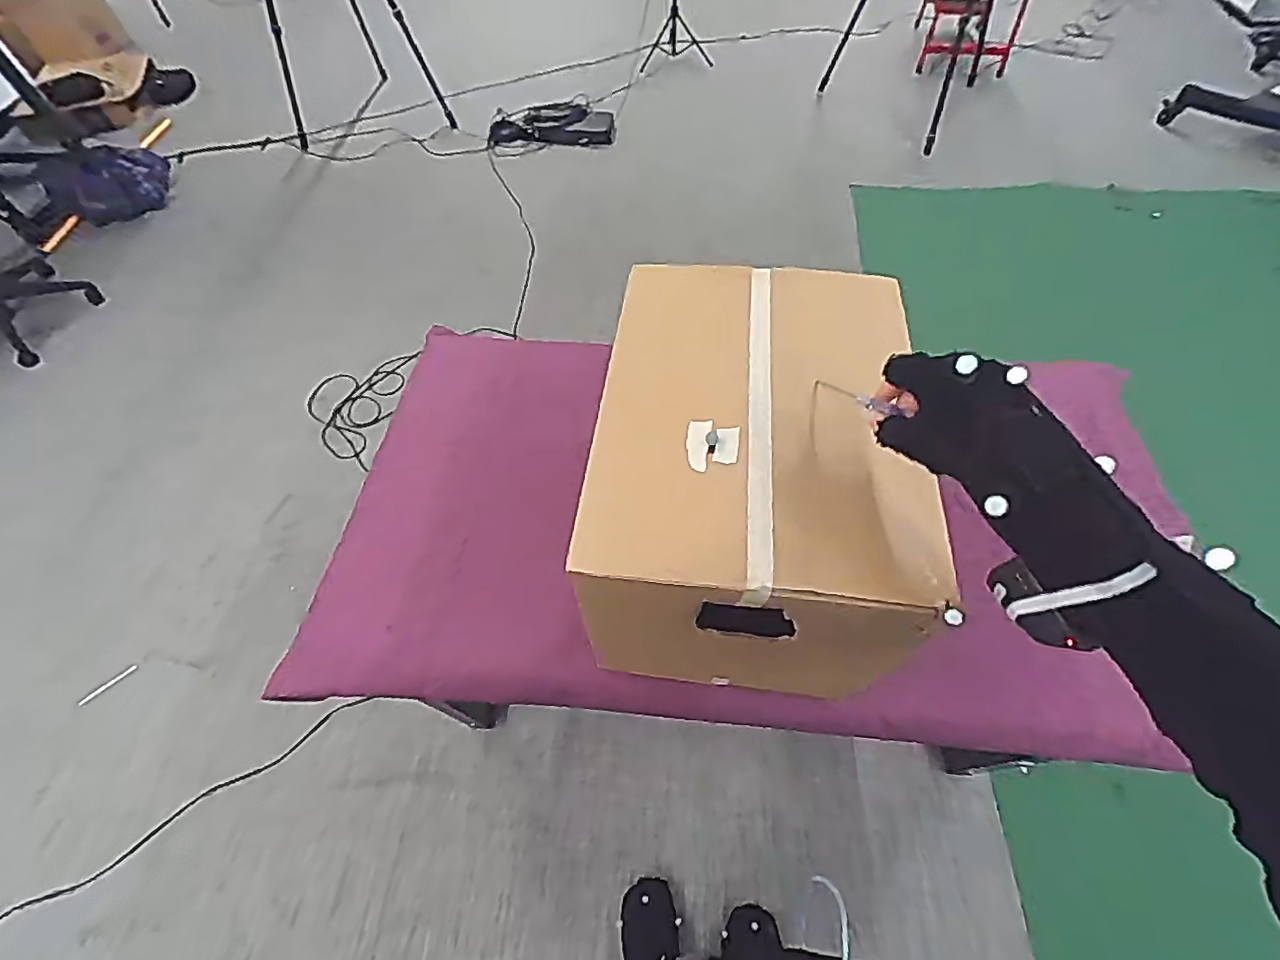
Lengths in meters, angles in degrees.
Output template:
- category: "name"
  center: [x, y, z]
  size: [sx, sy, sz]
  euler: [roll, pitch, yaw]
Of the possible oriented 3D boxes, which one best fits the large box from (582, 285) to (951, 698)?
- category: "large box"
  center: [0.125, 0.018, 0.677]
  size: [0.320, 0.320, 0.408]
  euler: [5, 57, 6]
